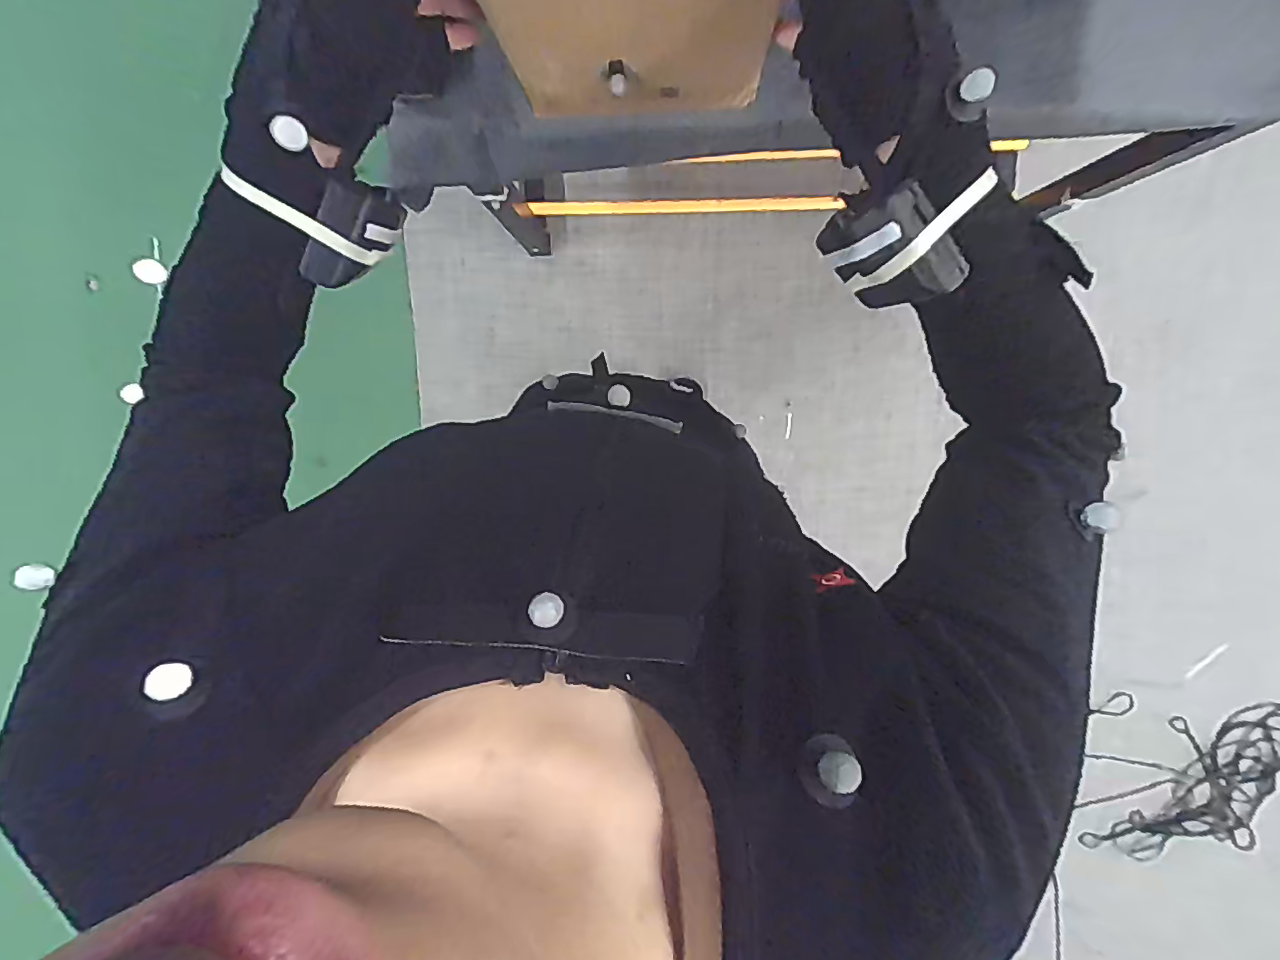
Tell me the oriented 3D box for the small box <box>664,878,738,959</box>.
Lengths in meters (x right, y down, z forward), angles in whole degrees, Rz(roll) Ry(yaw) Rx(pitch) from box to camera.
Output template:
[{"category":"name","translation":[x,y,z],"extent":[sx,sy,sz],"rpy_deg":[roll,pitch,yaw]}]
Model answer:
[{"category":"small box","translation":[0.175,1.339,1.614],"extent":[0.179,0.176,0.168],"rpy_deg":[14,99,0]}]
